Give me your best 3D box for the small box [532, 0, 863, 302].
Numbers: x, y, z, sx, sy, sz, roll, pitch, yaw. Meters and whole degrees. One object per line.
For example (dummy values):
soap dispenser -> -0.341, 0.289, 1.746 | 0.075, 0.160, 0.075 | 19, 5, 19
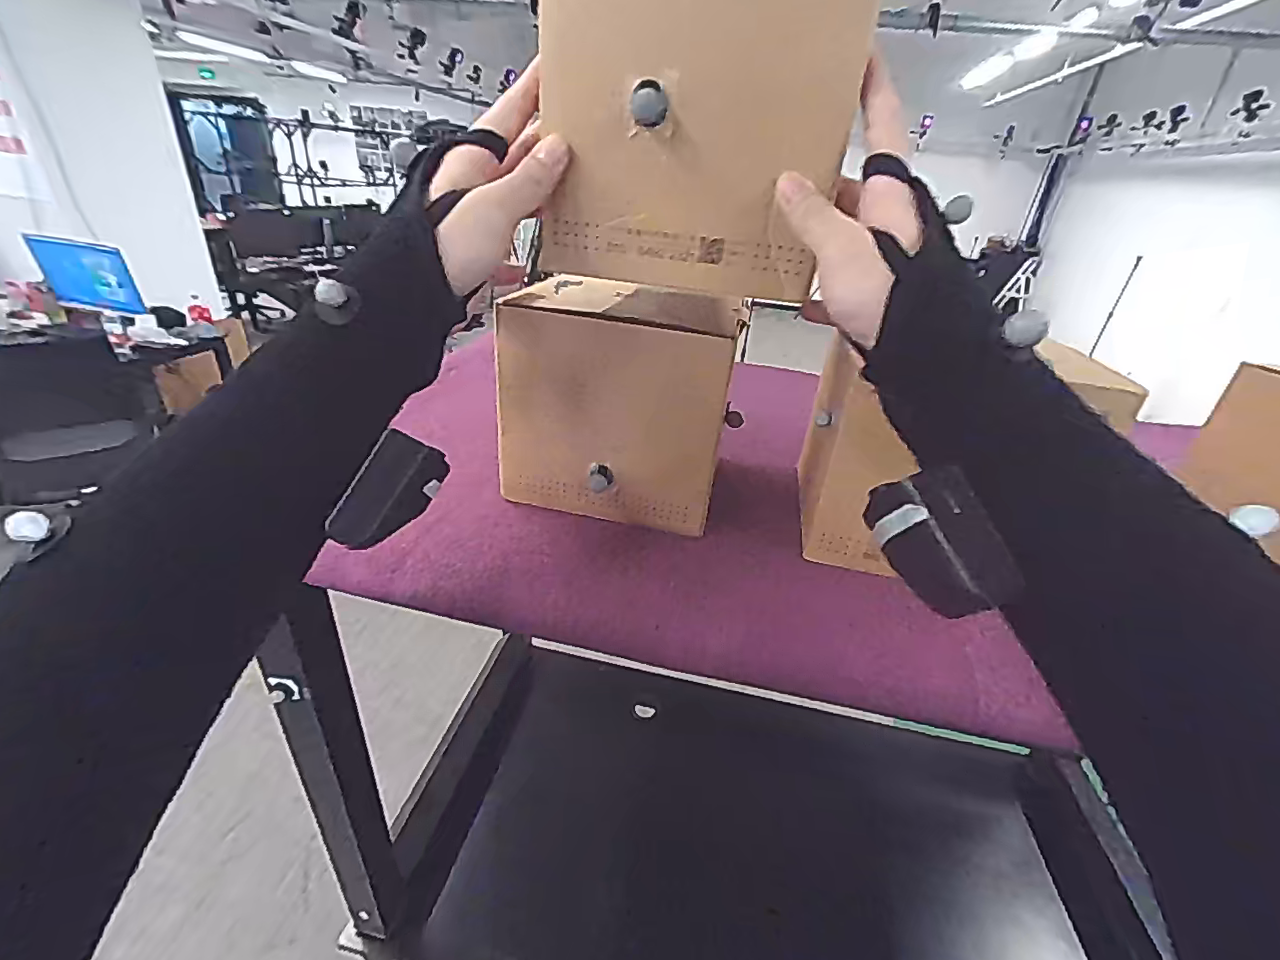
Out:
small box -> 0.038, -0.225, 0.359 | 0.168, 0.176, 0.179 | 9, 32, 6
